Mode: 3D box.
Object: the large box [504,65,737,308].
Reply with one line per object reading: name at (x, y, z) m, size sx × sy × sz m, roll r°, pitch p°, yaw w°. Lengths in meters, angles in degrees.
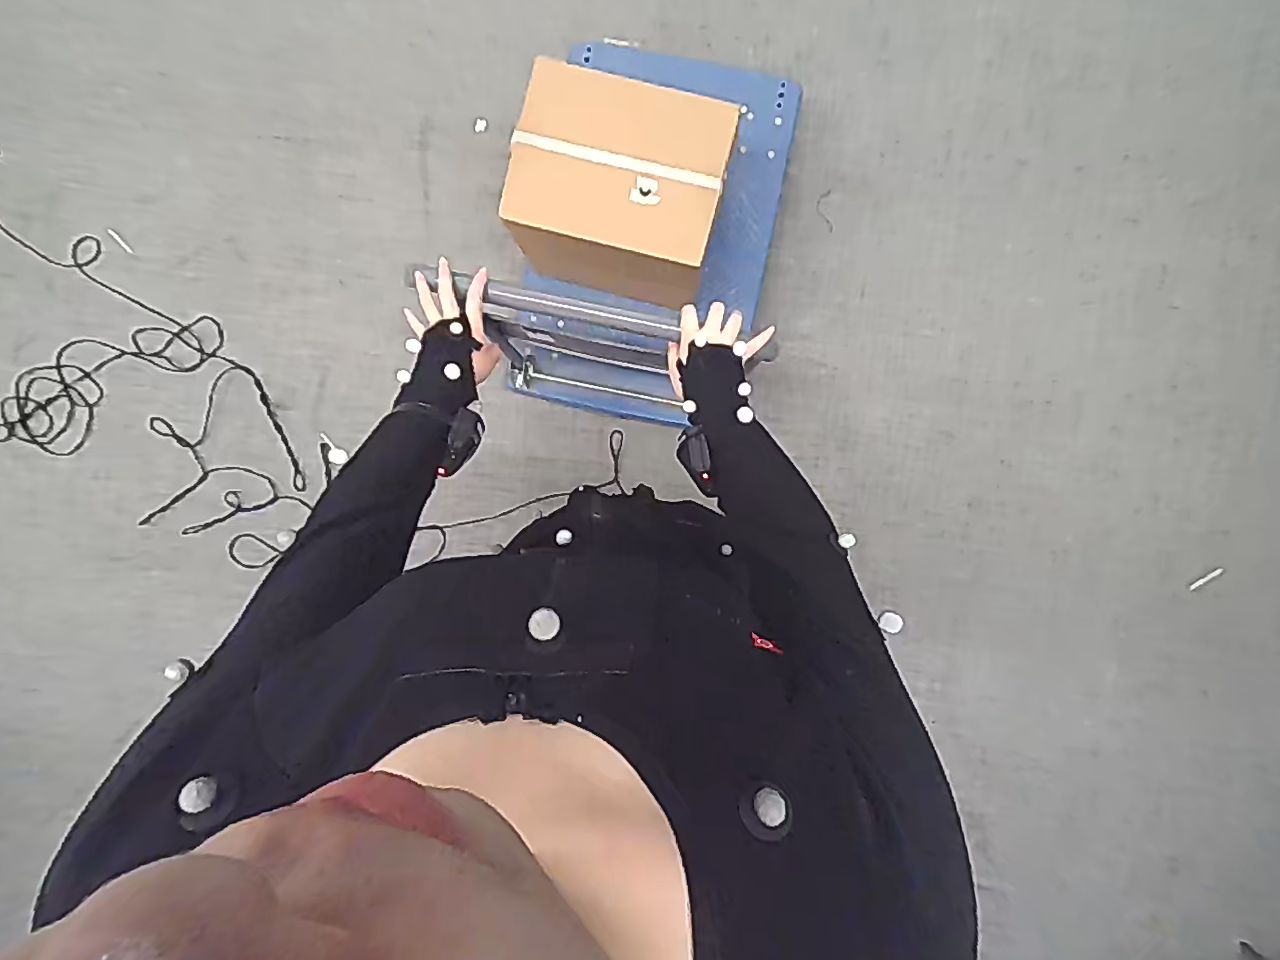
large box at (-0.039, -0.614, 1.193) m, size 0.408 × 0.320 × 0.320 m, roll 14°, pitch 92°, yaw 0°
